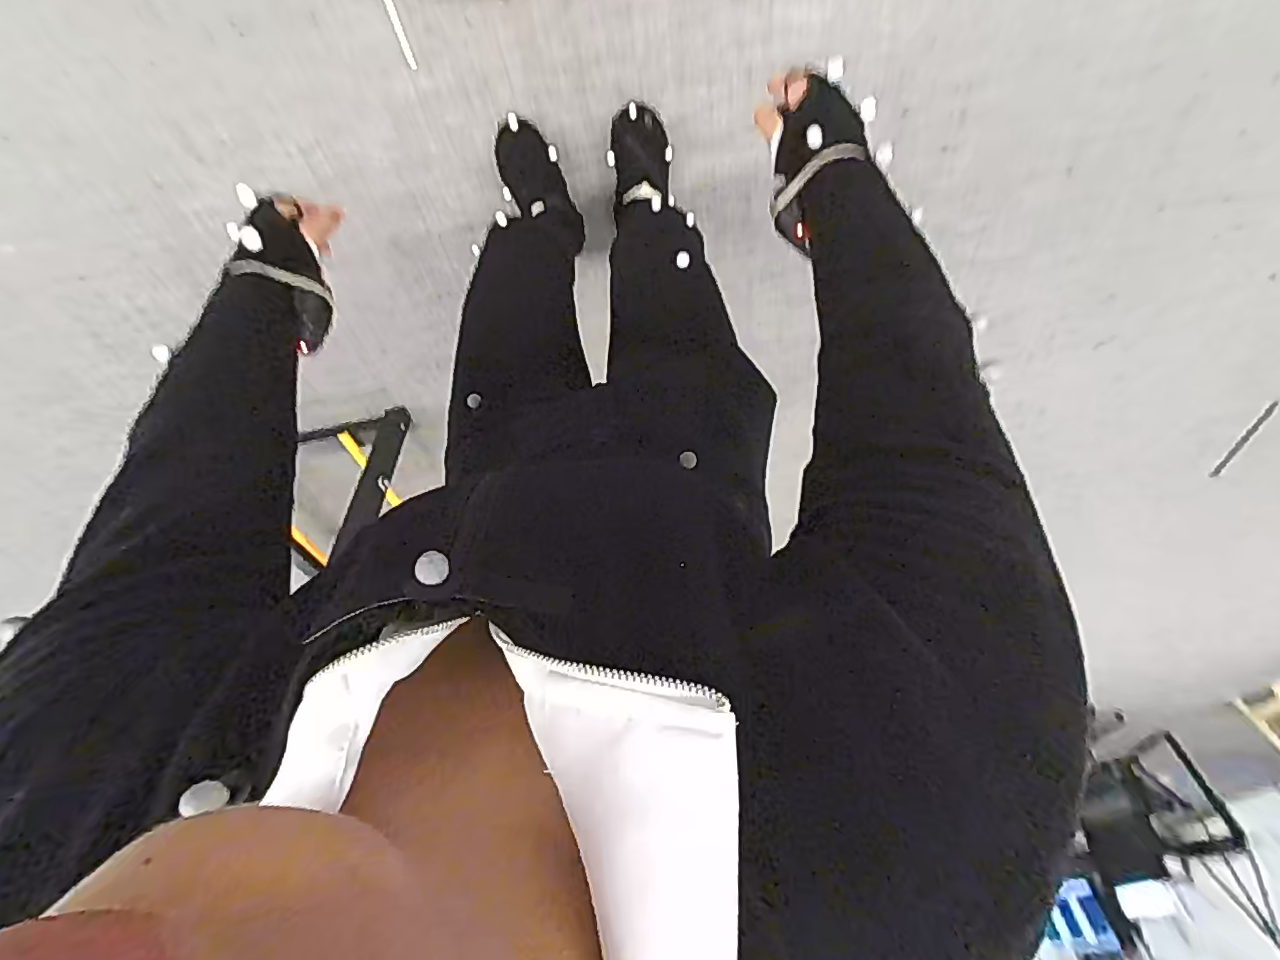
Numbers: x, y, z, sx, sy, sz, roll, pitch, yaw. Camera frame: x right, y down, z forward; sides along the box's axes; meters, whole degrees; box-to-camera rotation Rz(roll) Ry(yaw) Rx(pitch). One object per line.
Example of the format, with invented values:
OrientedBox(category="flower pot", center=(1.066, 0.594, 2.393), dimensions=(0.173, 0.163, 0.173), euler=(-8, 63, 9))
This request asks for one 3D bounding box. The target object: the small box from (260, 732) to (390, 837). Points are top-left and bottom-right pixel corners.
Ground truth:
OrientedBox(category="small box", center=(-0.699, 0.690, 1.228), dimensions=(0.168, 0.176, 0.179), euler=(-9, 136, 4))
